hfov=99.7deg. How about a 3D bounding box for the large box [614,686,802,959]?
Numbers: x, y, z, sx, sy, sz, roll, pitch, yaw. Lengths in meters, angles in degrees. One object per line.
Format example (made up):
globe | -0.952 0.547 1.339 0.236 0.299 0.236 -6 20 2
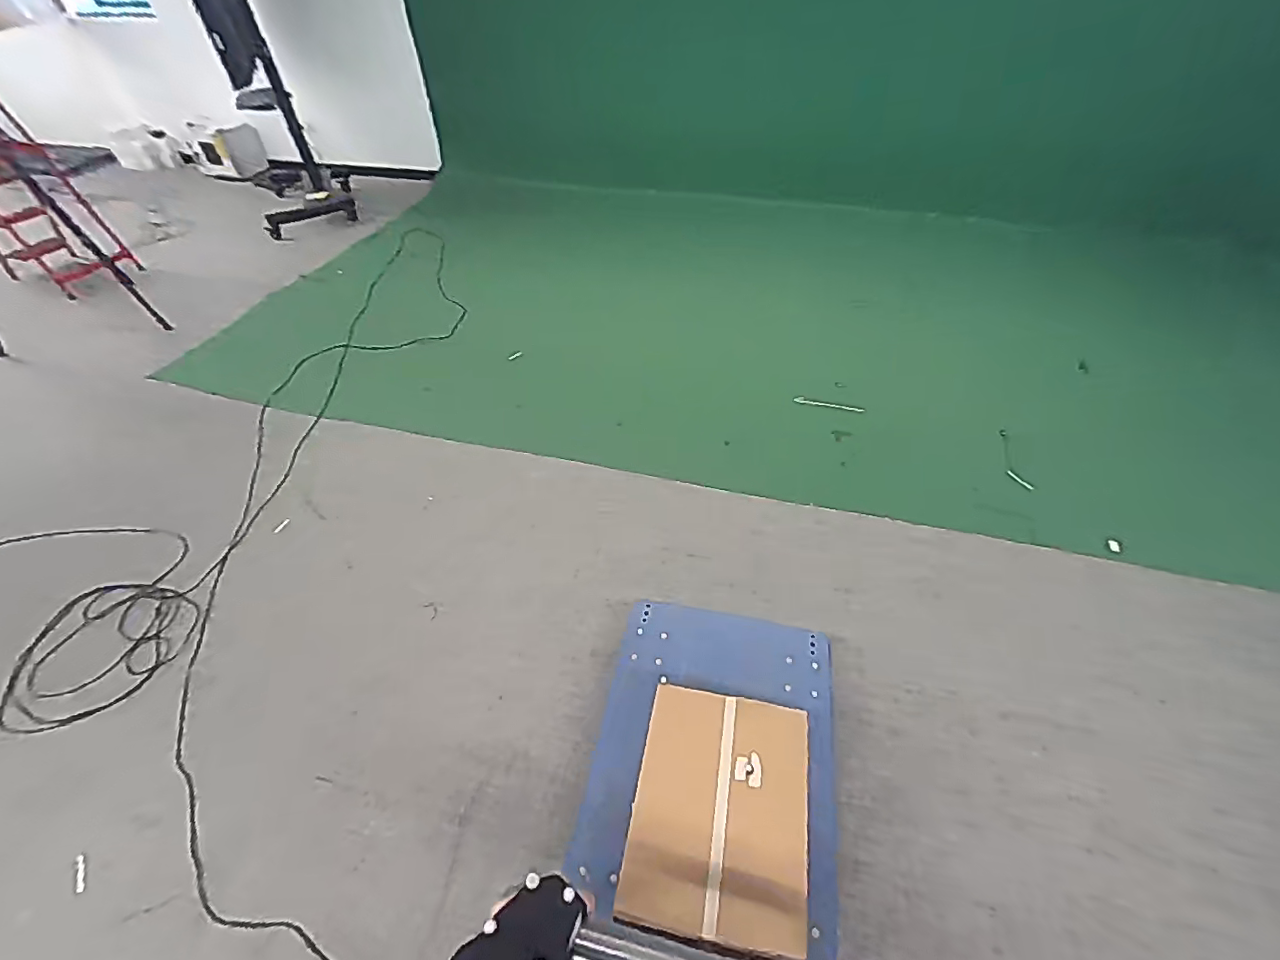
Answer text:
large box | 0.147 0.707 1.113 0.320 0.320 0.408 8 46 9
